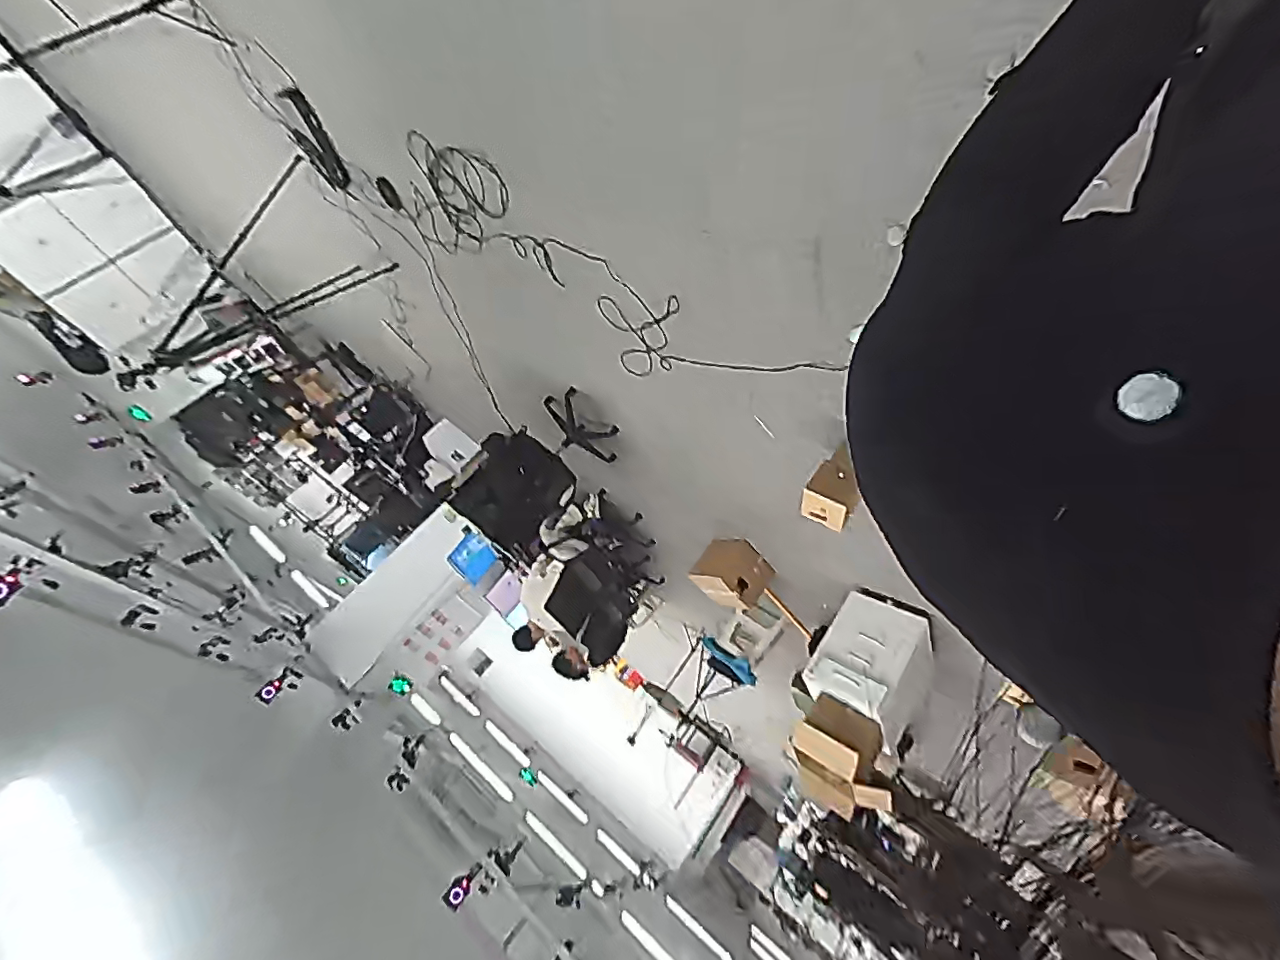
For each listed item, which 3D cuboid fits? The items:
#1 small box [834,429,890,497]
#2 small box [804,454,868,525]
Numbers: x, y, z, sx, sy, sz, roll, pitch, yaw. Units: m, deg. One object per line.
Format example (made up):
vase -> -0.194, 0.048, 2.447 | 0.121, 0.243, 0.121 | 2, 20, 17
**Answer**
small box -> 0.856, -0.072, 2.112 | 0.168, 0.176, 0.179 | 27, 155, 30
small box -> 0.744, 0.034, 2.055 | 0.168, 0.176, 0.179 | 27, 154, 29
